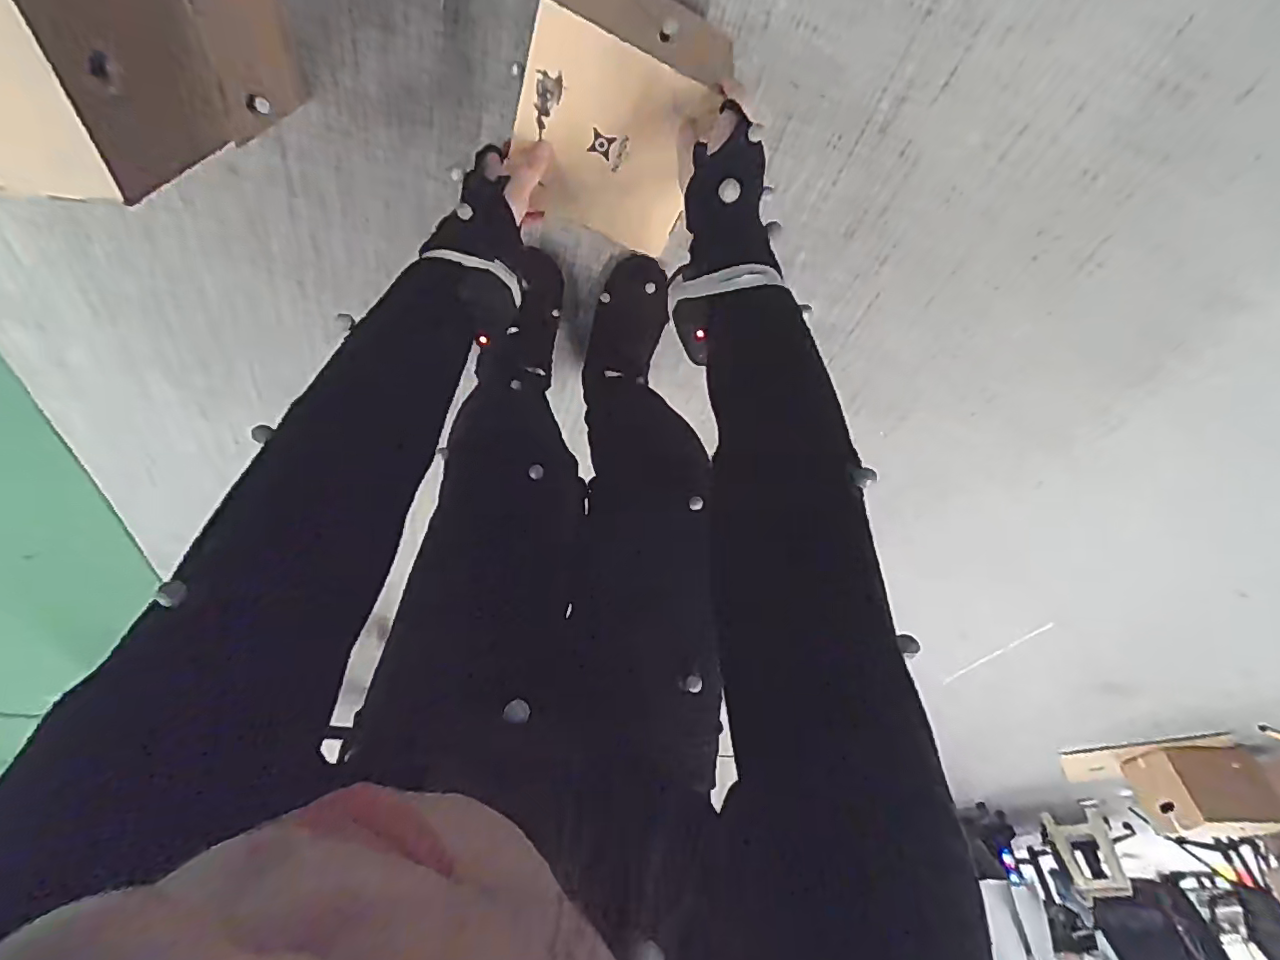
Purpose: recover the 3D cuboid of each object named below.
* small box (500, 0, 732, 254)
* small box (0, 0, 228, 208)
[{"bbox_3d":[-0.023,-0.375,0.550,0.179,0.176,0.168,17,143,-17],"label":"small box"},{"bbox_3d":[-0.463,-0.337,0.406,0.168,0.176,0.179,5,138,-6],"label":"small box"}]
